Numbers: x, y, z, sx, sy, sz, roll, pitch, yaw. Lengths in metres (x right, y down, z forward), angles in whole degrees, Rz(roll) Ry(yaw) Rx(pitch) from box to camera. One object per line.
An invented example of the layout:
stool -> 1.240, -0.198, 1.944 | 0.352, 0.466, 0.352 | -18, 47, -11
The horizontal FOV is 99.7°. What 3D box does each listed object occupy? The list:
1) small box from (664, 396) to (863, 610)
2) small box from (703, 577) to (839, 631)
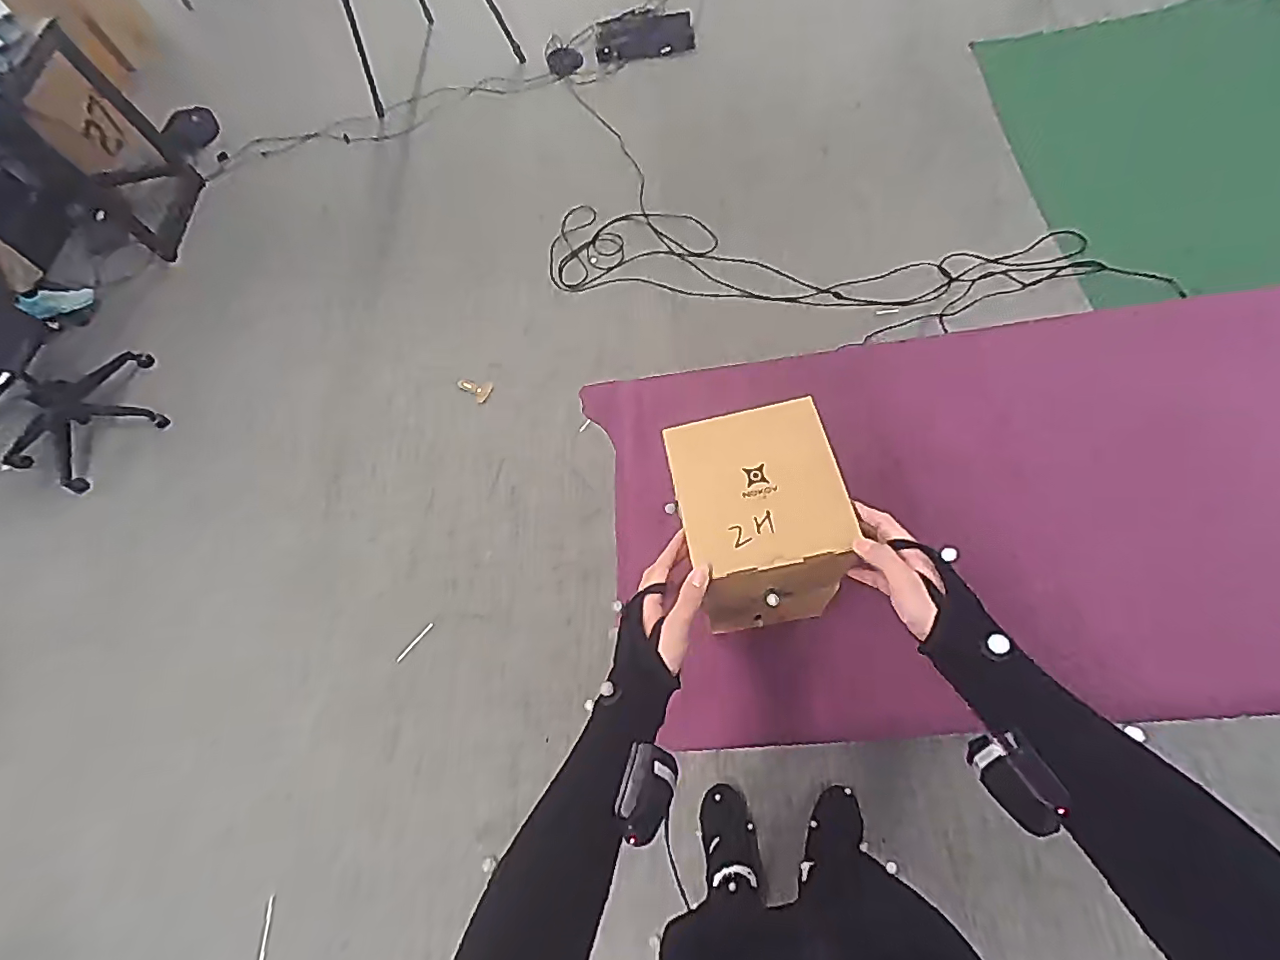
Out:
small box -> 0.128, 0.034, 0.618 | 0.168, 0.176, 0.179 | -13, 64, 4
small box -> 0.161, 0.102, 0.765 | 0.168, 0.176, 0.179 | -12, 64, 4
